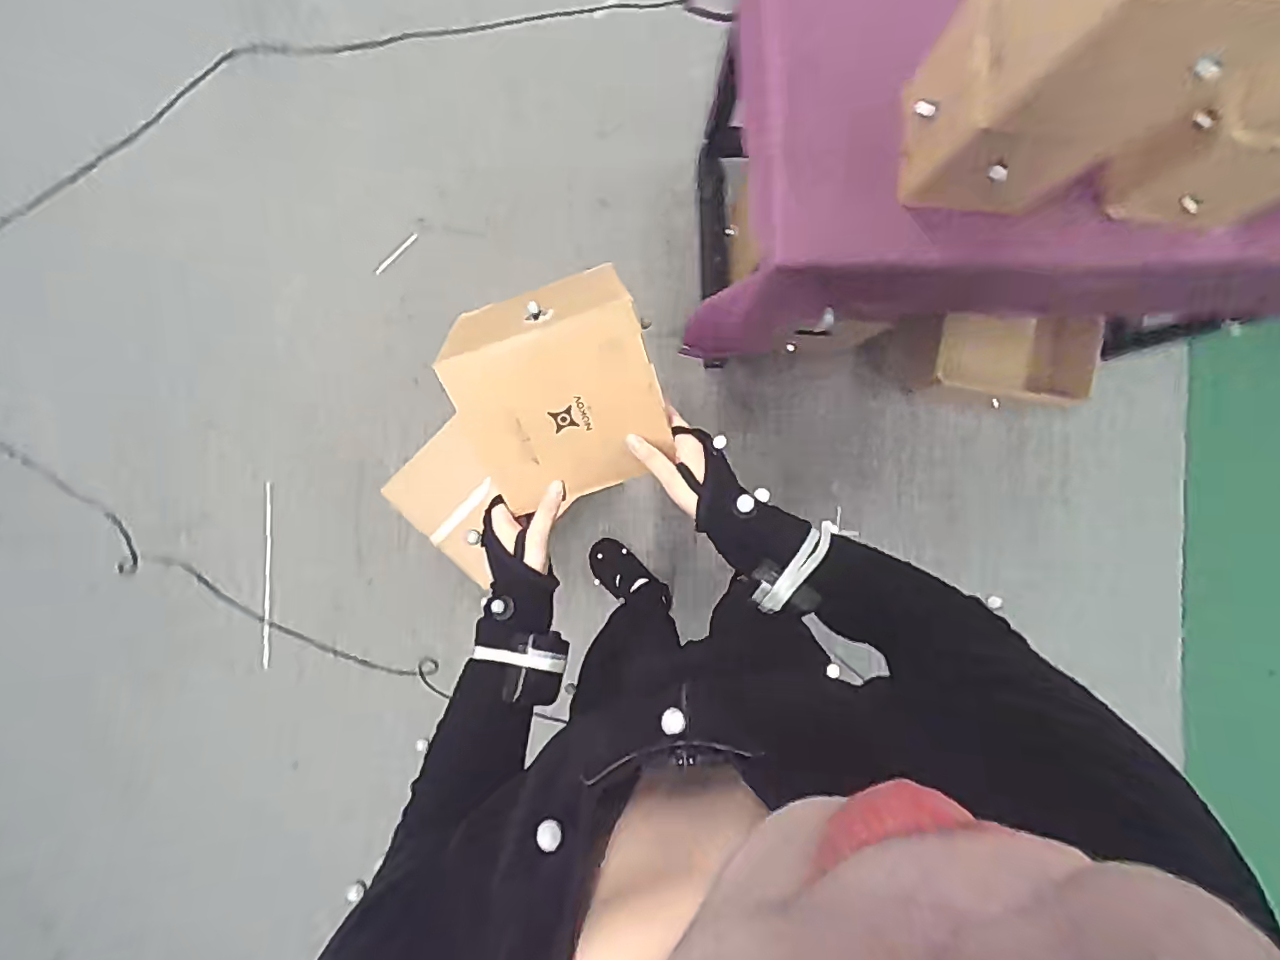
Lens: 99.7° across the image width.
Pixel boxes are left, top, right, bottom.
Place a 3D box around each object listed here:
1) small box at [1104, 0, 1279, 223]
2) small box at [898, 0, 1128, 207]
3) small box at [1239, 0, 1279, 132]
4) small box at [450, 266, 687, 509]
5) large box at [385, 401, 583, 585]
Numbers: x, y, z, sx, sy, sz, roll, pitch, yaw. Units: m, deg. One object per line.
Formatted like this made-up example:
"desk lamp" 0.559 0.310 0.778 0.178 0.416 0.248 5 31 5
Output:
"small box" 0.741 -0.459 0.685 0.168 0.176 0.179 6 90 -2
"small box" 0.444 -0.461 0.670 0.179 0.176 0.168 2 90 -2
"small box" 0.750 -0.467 0.520 0.168 0.176 0.179 8 90 -2
"small box" -0.067 -0.102 0.549 0.179 0.176 0.168 -17 122 1
"large box" -0.307 -0.017 1.299 0.320 0.320 0.408 44 87 -2
